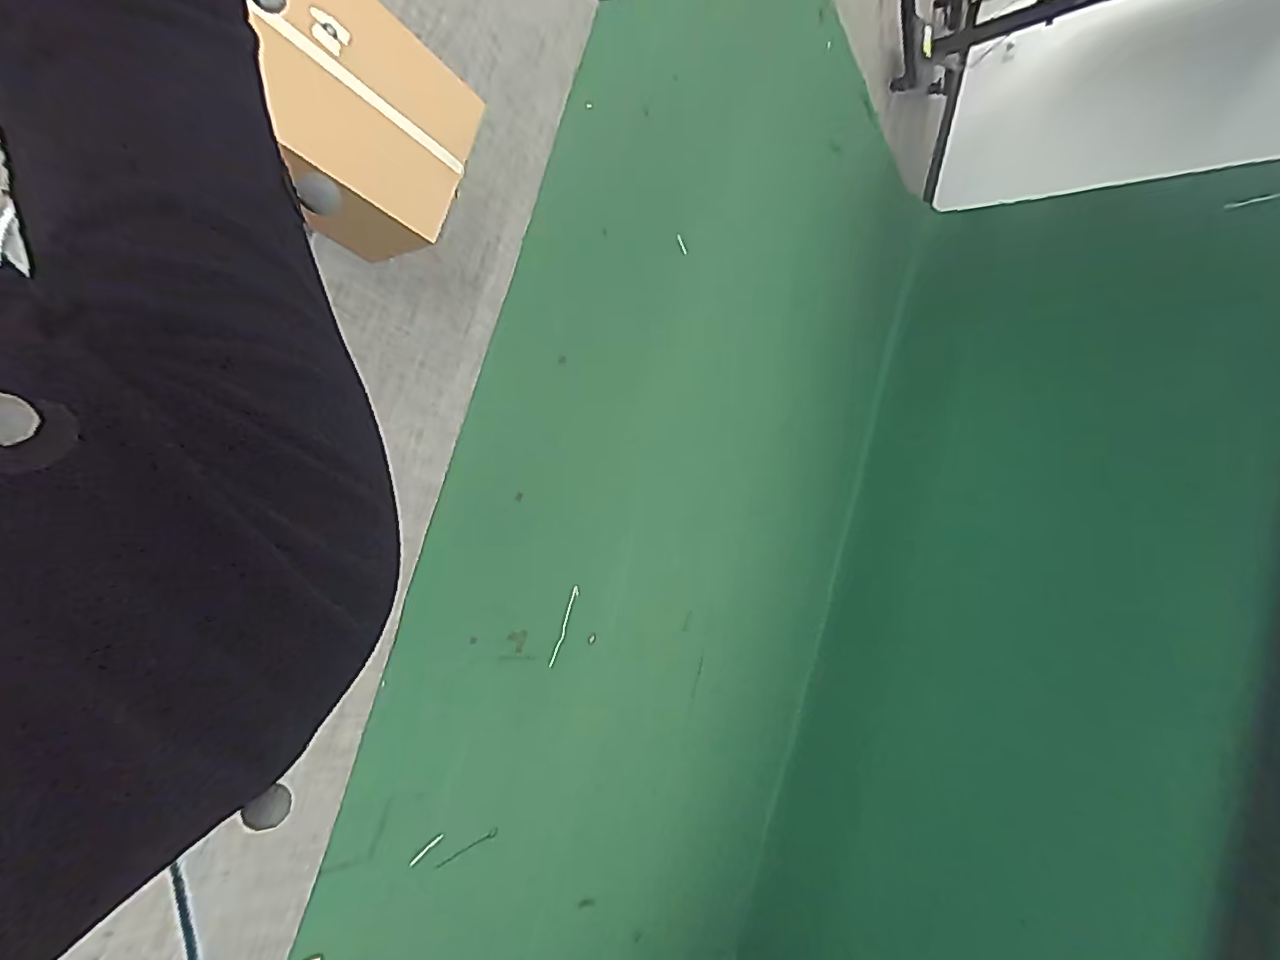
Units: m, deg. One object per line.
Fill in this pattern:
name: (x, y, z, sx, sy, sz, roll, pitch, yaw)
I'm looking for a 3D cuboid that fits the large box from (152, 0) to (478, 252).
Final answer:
large box: (-0.595, -0.691, 1.020, 0.408, 0.320, 0.320, 24, 81, -47)
